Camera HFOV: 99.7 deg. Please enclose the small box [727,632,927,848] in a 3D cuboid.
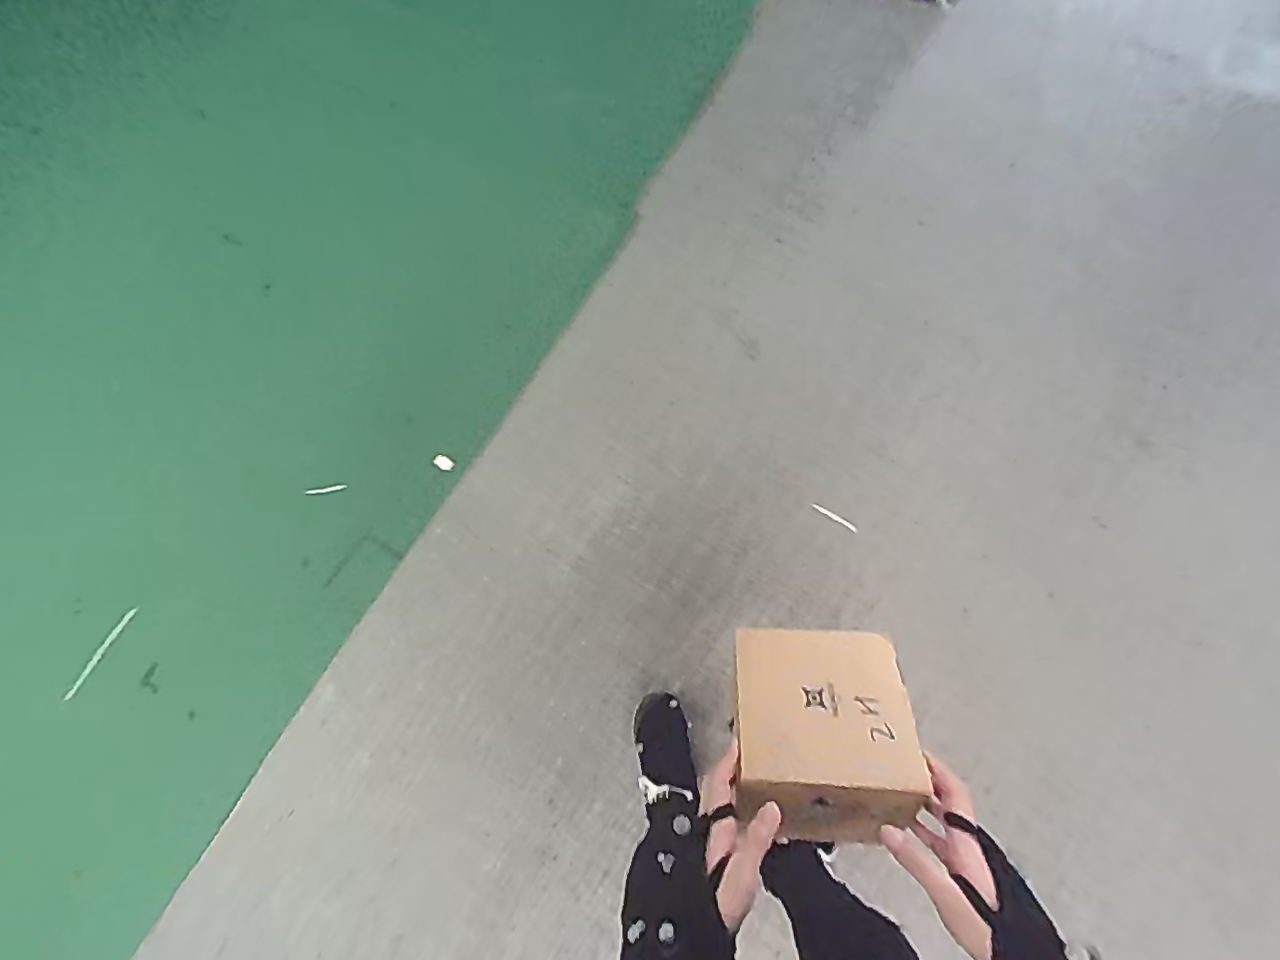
[{"bbox_3d":[0.188,0.291,0.607,0.179,0.176,0.168,0,41,7],"label":"small box"}]
